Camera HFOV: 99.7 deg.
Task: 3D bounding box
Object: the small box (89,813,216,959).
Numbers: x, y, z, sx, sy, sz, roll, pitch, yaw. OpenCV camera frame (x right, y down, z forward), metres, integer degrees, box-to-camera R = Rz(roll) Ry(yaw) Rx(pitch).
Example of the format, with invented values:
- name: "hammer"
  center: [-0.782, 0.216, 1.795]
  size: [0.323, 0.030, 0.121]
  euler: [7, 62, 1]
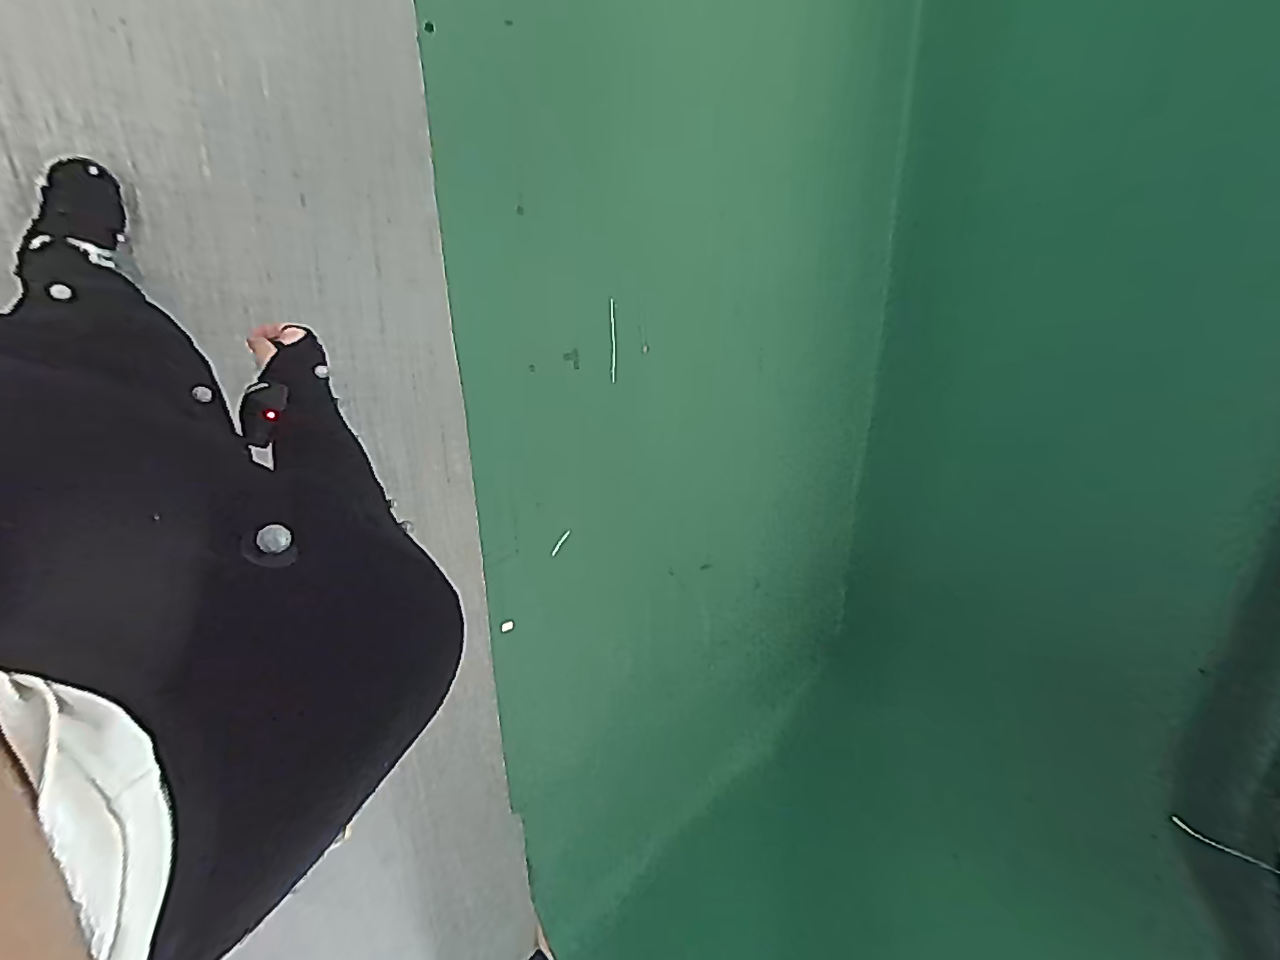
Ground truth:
- name: "small box"
  center: [-1.049, 0.875, 1.165]
  size: [0.168, 0.176, 0.179]
  euler: [-18, 116, -44]
